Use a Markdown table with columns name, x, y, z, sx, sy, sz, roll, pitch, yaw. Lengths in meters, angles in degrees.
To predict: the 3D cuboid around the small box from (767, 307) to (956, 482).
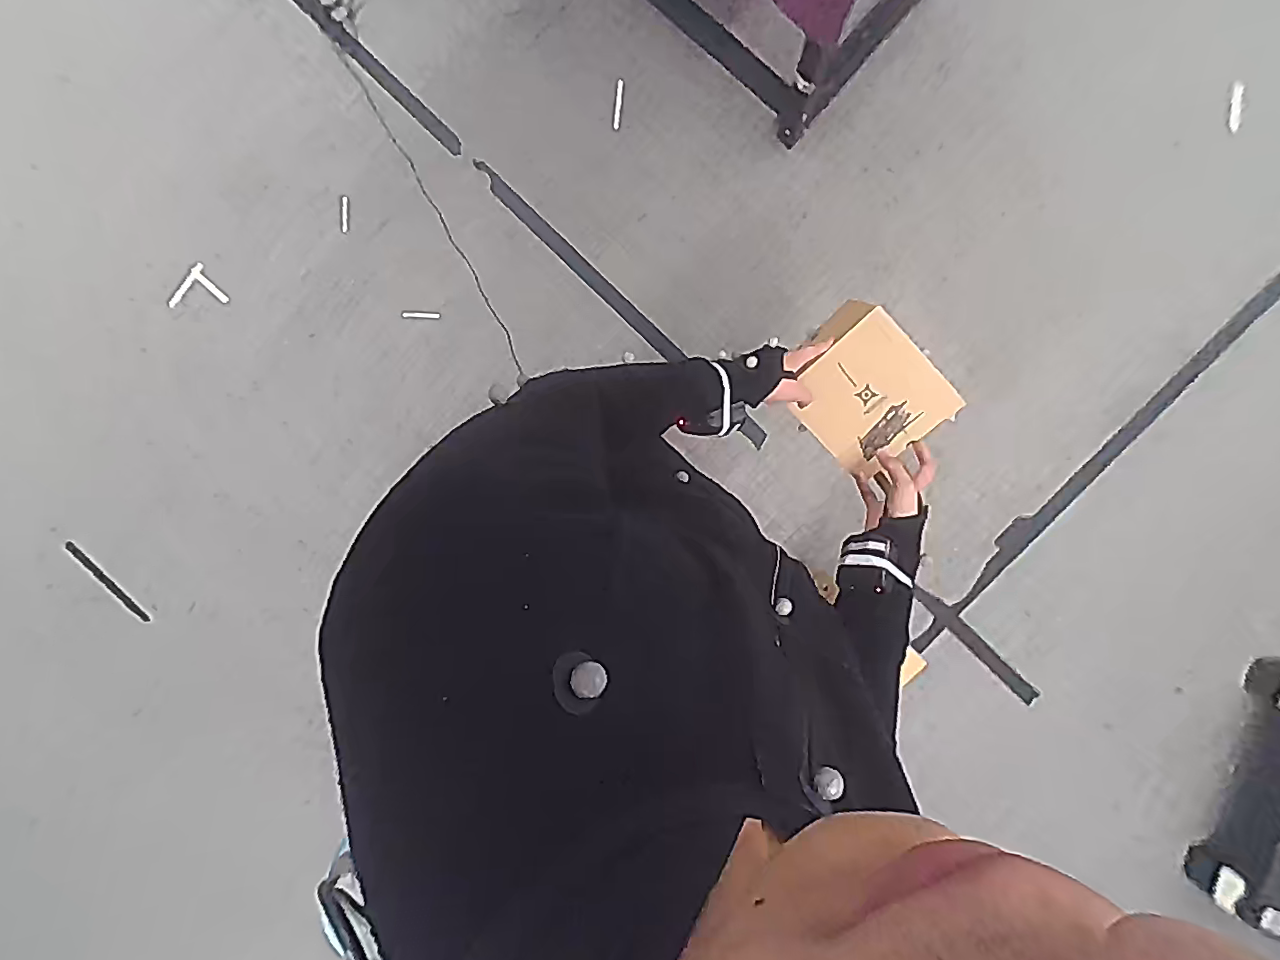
| name | x | y | z | sx | sy | sz | roll | pitch | yaw |
| --- | --- | --- | --- | --- | --- | --- | --- | --- | --- |
| small box | 0.305 | -0.133 | 0.781 | 0.179 | 0.176 | 0.168 | 44 | 111 | -8 |

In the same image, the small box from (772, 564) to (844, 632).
| name | x | y | z | sx | sy | sz | roll | pitch | yaw |
| --- | --- | --- | --- | --- | --- | --- | --- | --- | --- |
| small box | 0.498 | 0.357 | 1.524 | 0.179 | 0.176 | 0.168 | 40 | 95 | 3 |
